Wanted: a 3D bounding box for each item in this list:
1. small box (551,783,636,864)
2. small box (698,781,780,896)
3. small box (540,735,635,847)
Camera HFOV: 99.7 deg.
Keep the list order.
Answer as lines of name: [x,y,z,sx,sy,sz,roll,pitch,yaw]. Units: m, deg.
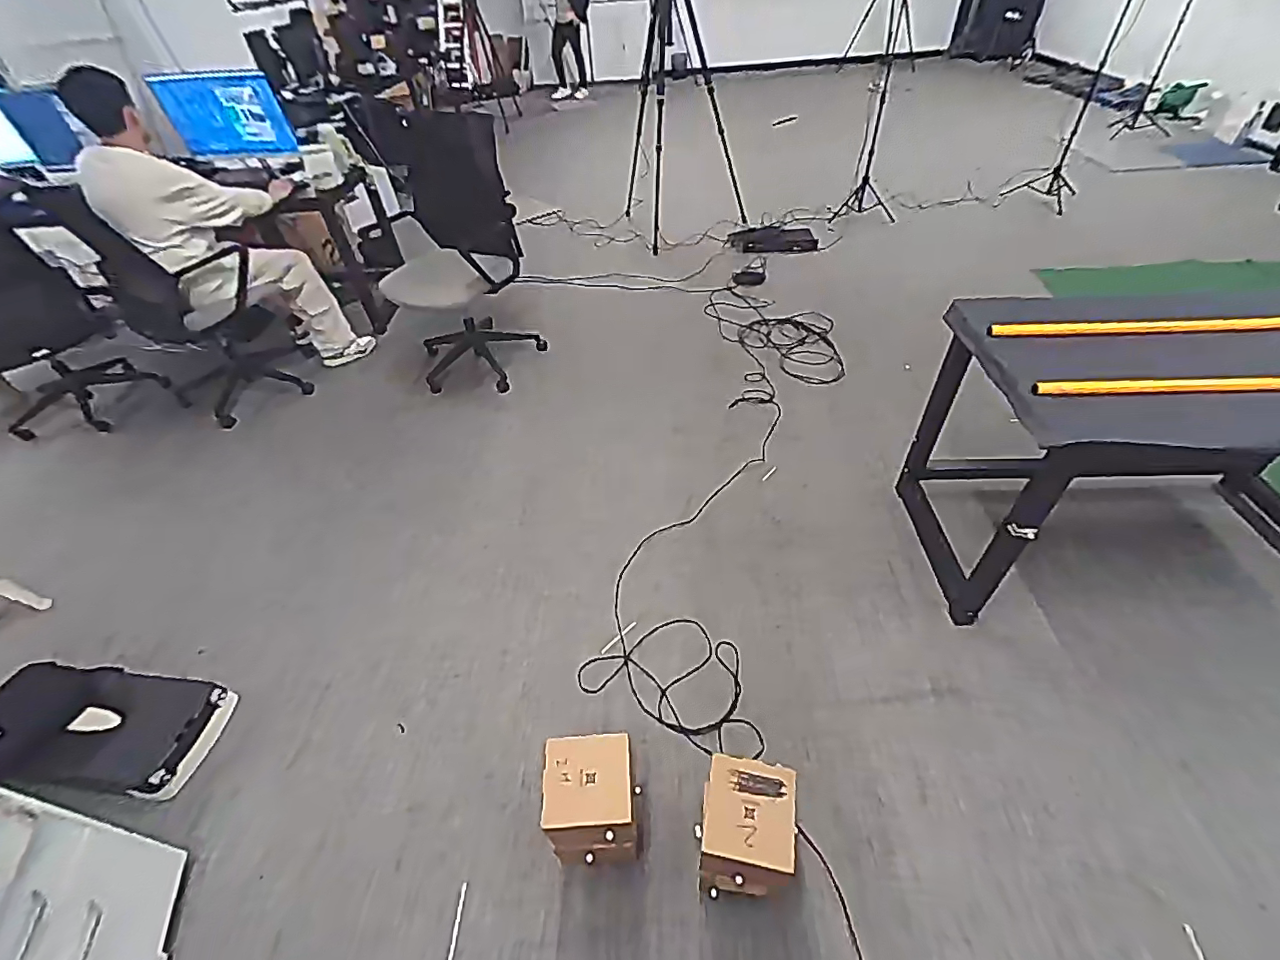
small box: [-0.099,0.771,1.246,0.179,0.176,0.168,-3,45,2]
small box: [0.215,0.794,1.195,0.168,0.176,0.179,3,45,7]
small box: [-0.101,0.652,1.132,0.179,0.176,0.168,-5,45,1]
